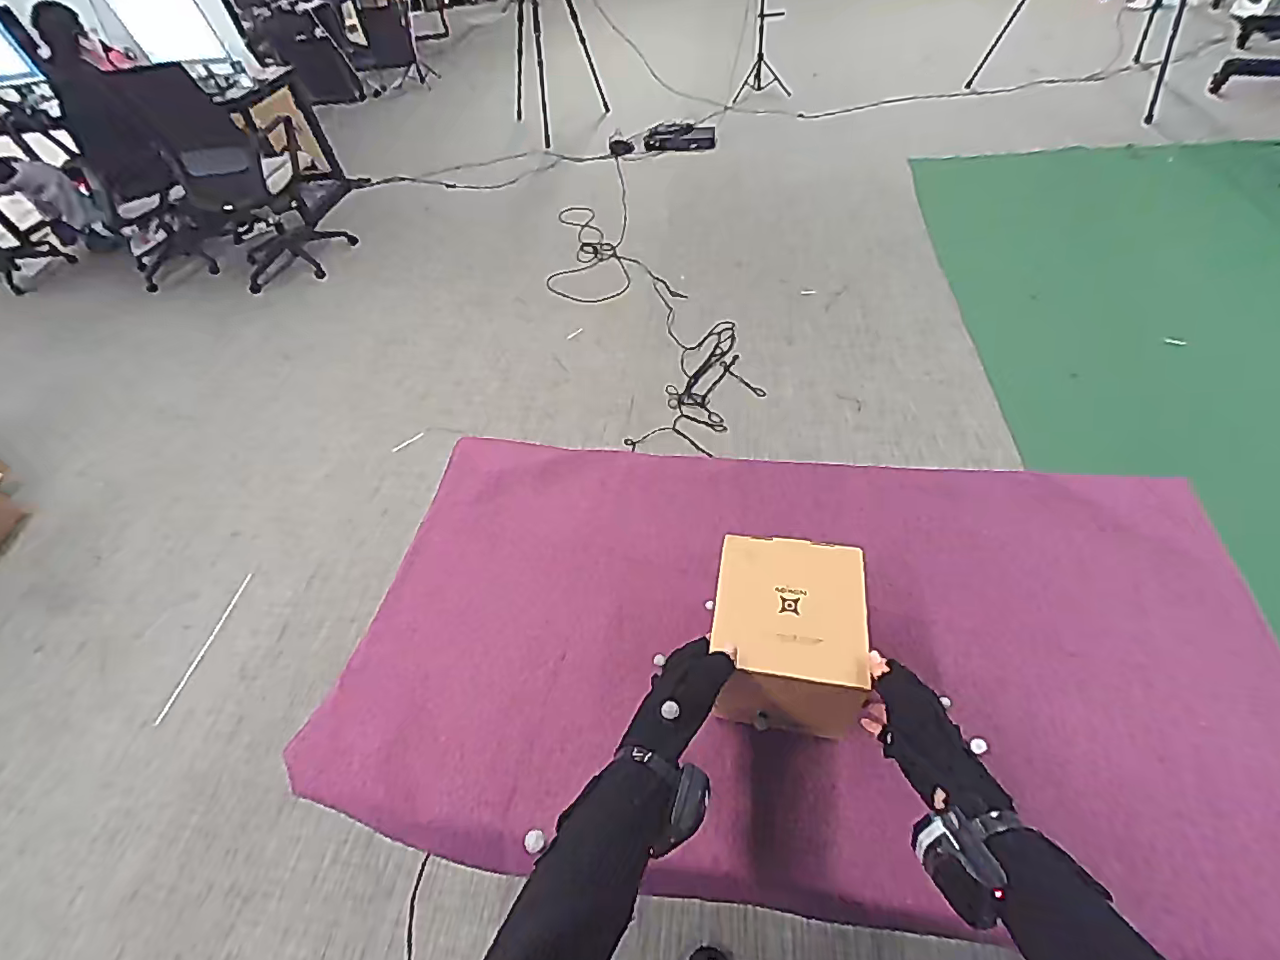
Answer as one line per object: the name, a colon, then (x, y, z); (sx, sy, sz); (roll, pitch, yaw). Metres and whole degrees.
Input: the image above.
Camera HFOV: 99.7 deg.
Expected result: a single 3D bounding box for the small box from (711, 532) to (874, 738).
small box: (0.178, 0.189, 0.663); (0.168, 0.176, 0.179); (4, 49, 13)
